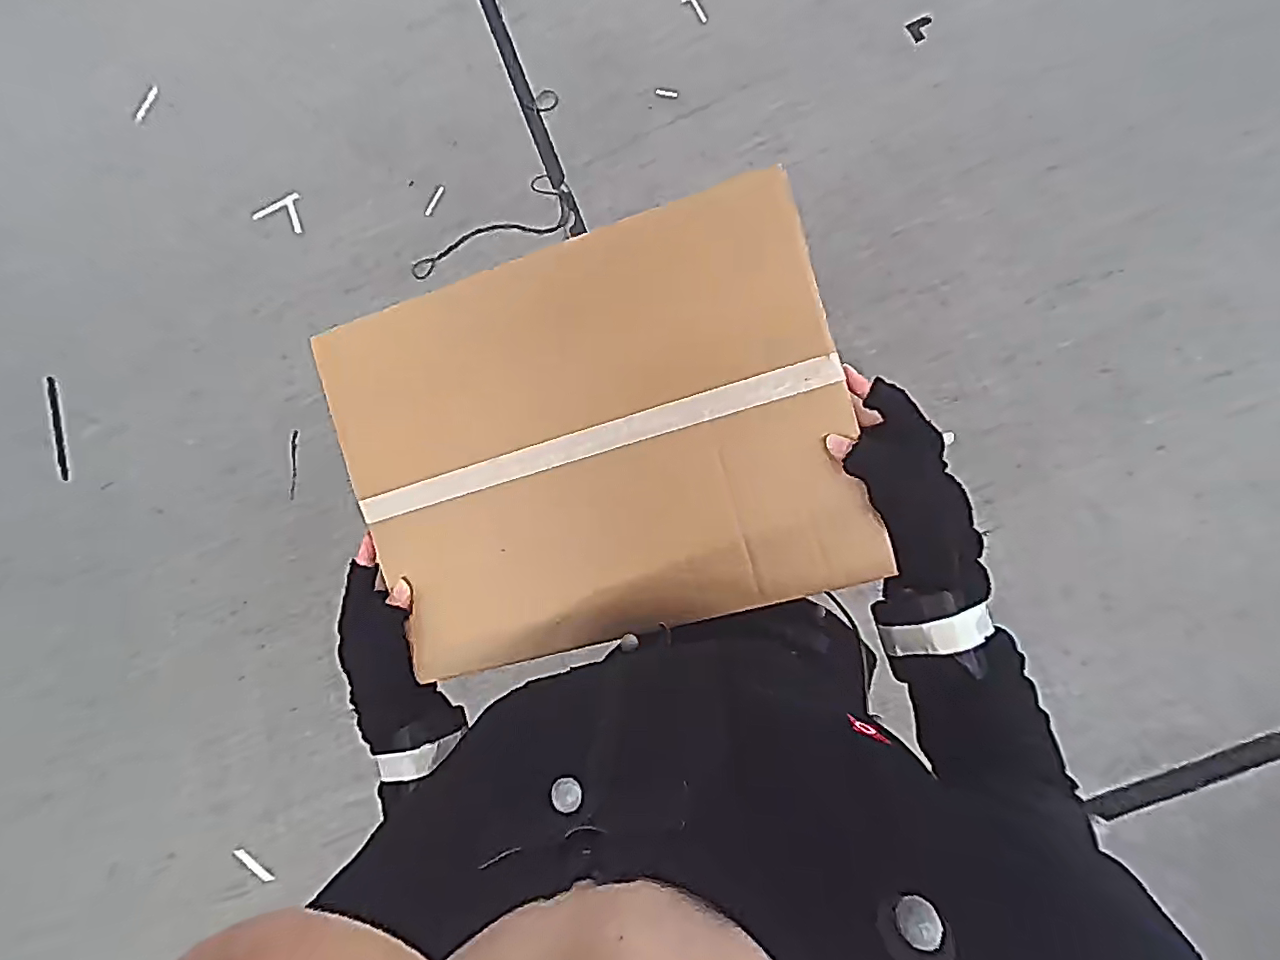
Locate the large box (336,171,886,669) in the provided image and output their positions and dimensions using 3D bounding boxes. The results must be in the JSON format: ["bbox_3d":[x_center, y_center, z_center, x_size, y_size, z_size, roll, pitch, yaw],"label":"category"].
[{"bbox_3d":[-0.017,-0.040,0.586,0.408,0.320,0.320,-16,92,10],"label":"large box"}]
